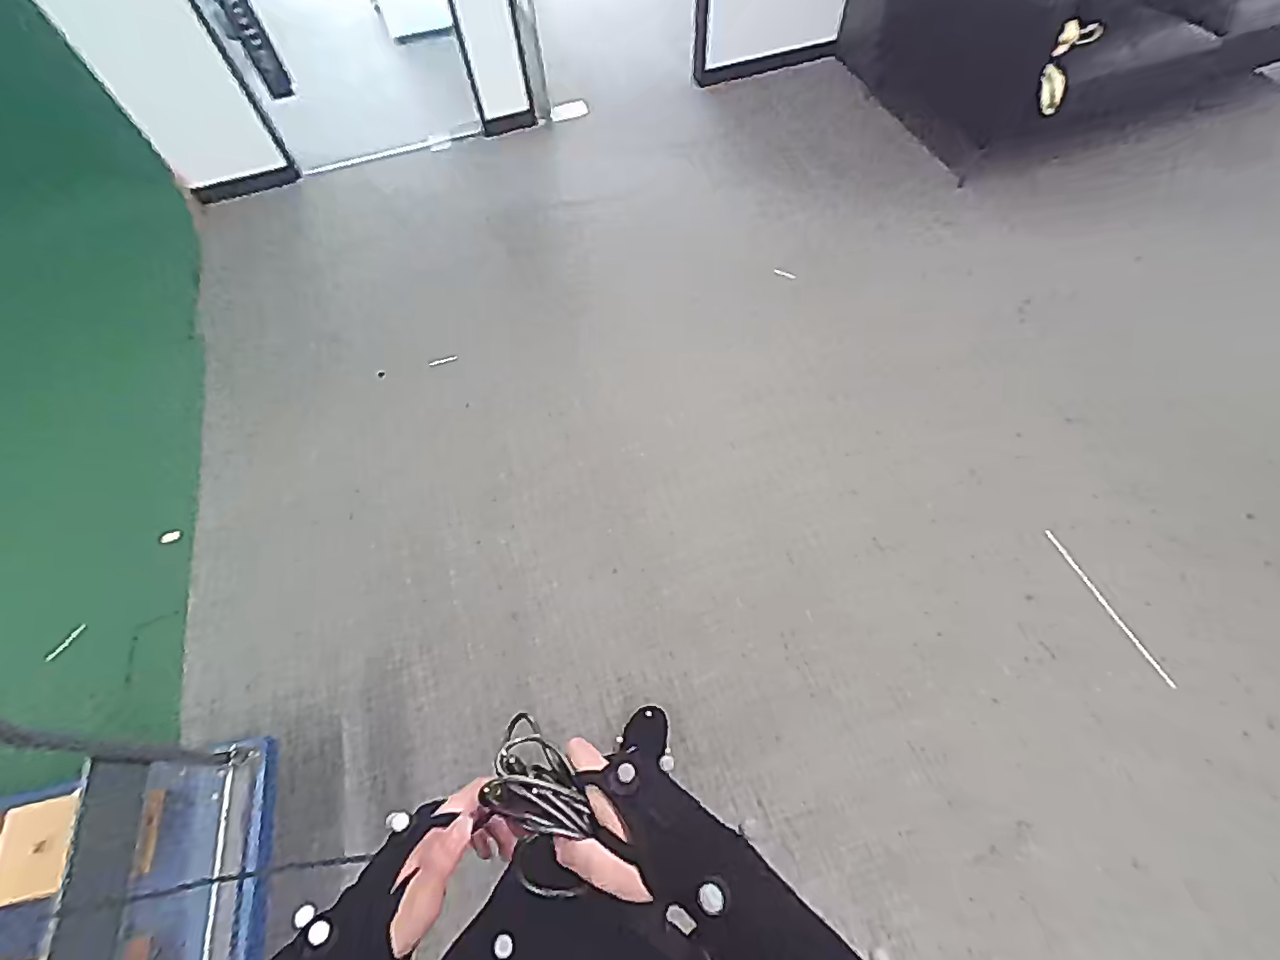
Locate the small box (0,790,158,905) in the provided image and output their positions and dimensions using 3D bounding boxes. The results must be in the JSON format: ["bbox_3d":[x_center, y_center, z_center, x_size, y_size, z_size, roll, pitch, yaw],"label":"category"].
[{"bbox_3d":[-1.156,0.746,1.105,0.179,0.176,0.168,-11,60,-5],"label":"small box"}]
